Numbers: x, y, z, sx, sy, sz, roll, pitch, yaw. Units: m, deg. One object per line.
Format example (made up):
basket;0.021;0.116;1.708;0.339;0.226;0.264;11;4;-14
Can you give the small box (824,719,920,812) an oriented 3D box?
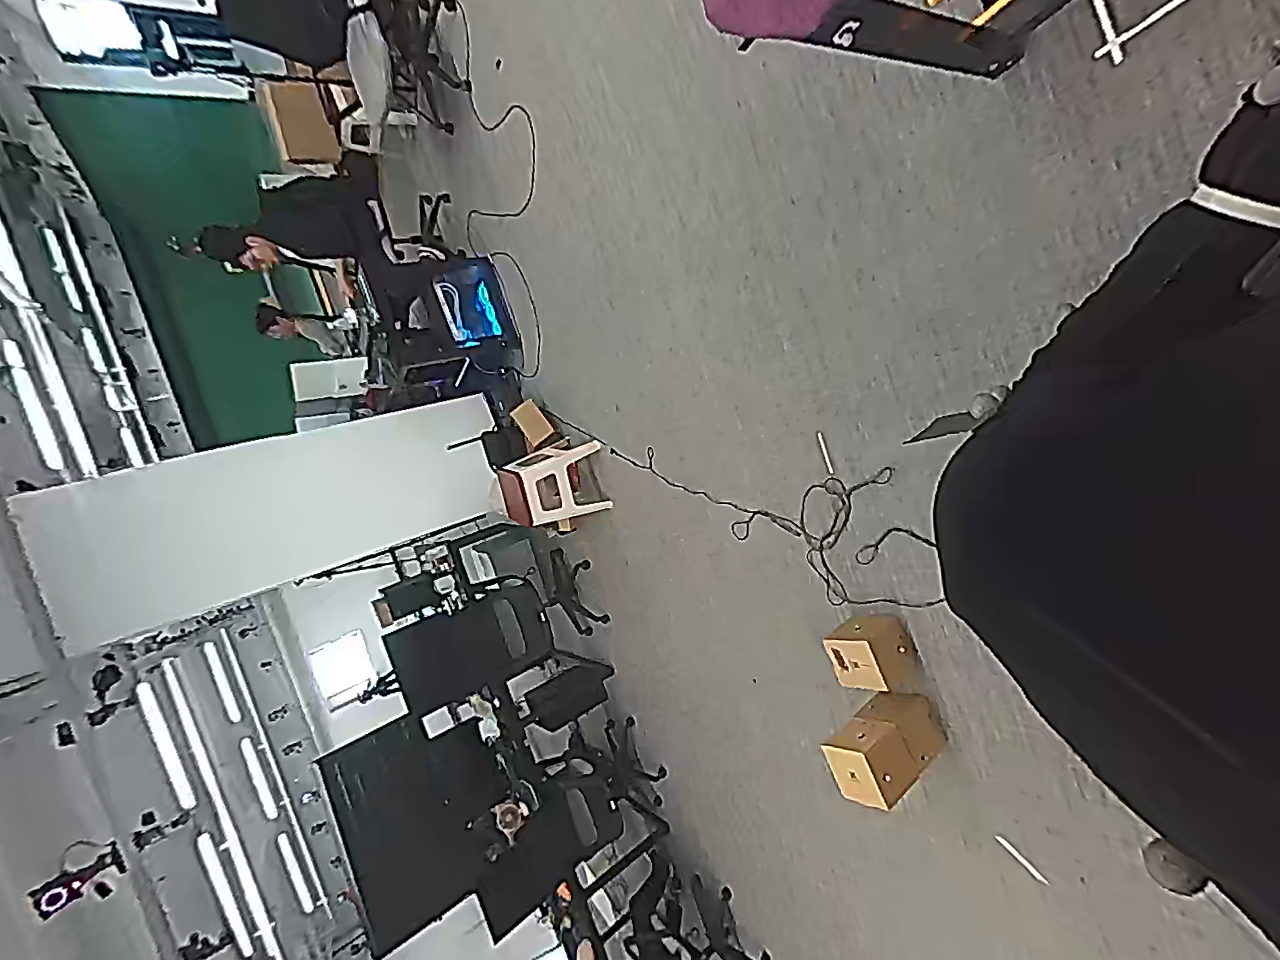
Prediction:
small box;0.696;0.842;1.618;0.168;0.176;0.179;-31;82;59

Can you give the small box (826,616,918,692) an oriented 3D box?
small box;0.728;0.540;1.700;0.179;0.176;0.168;-24;88;58
